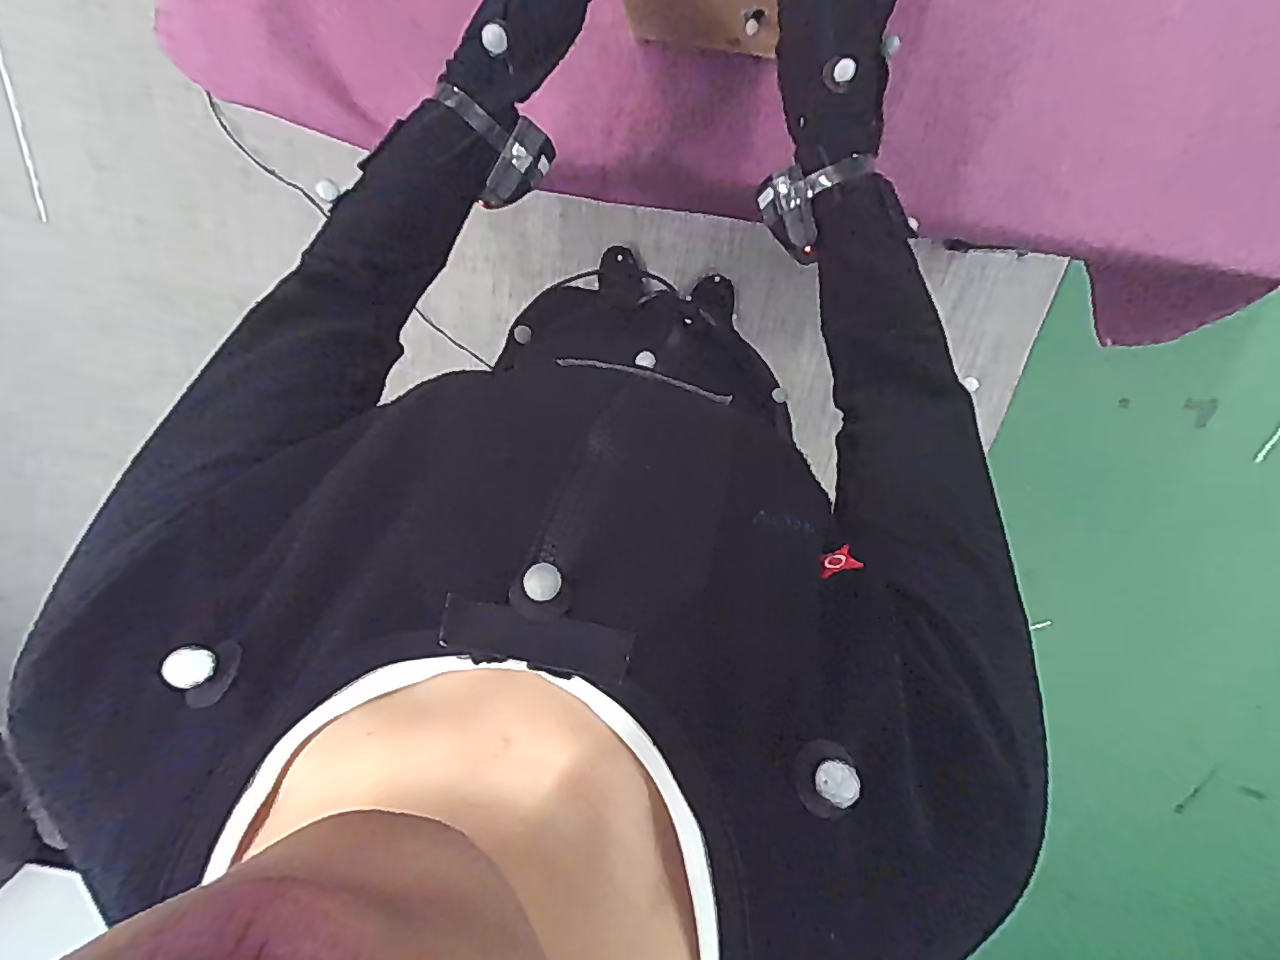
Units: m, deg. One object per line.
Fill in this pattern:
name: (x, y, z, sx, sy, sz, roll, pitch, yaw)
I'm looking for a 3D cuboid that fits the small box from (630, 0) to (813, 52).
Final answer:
small box: (0.079, -0.485, 0.435, 0.168, 0.176, 0.179, 10, 111, 0)
